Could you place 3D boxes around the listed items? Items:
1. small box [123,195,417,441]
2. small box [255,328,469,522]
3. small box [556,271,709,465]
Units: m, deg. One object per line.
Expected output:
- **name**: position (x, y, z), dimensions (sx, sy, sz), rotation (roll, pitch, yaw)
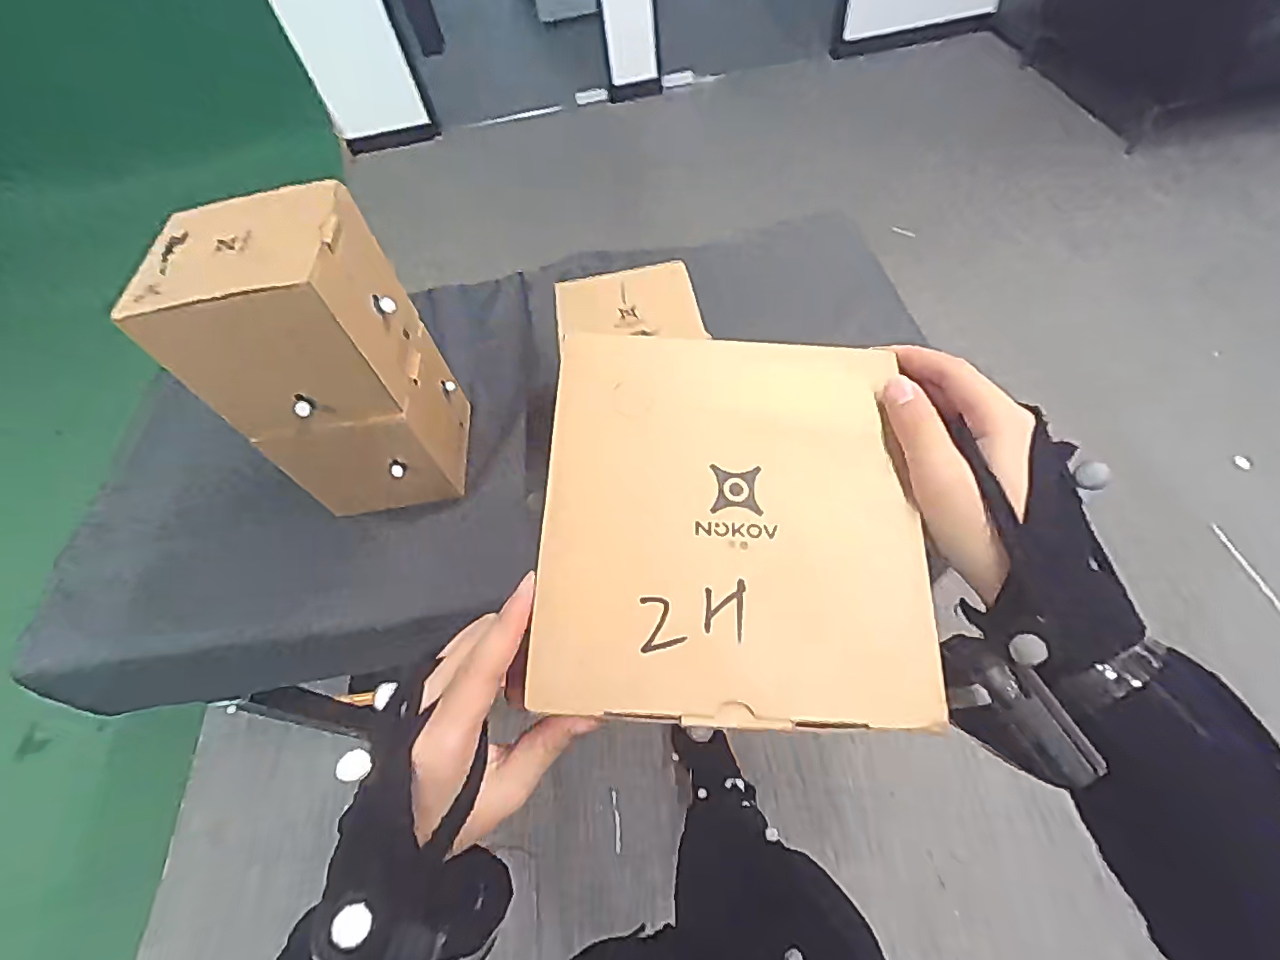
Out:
- **small box**: position (-0.356, -0.163, 0.567), dimensions (0.179, 0.176, 0.168), rotation (-10, 55, 0)
- **small box**: position (-0.336, -0.065, 0.698), dimensions (0.179, 0.176, 0.168), rotation (-10, 54, 2)
- **small box**: position (-0.006, -0.135, 0.700), dimensions (0.168, 0.176, 0.179), rotation (-10, 55, 0)
